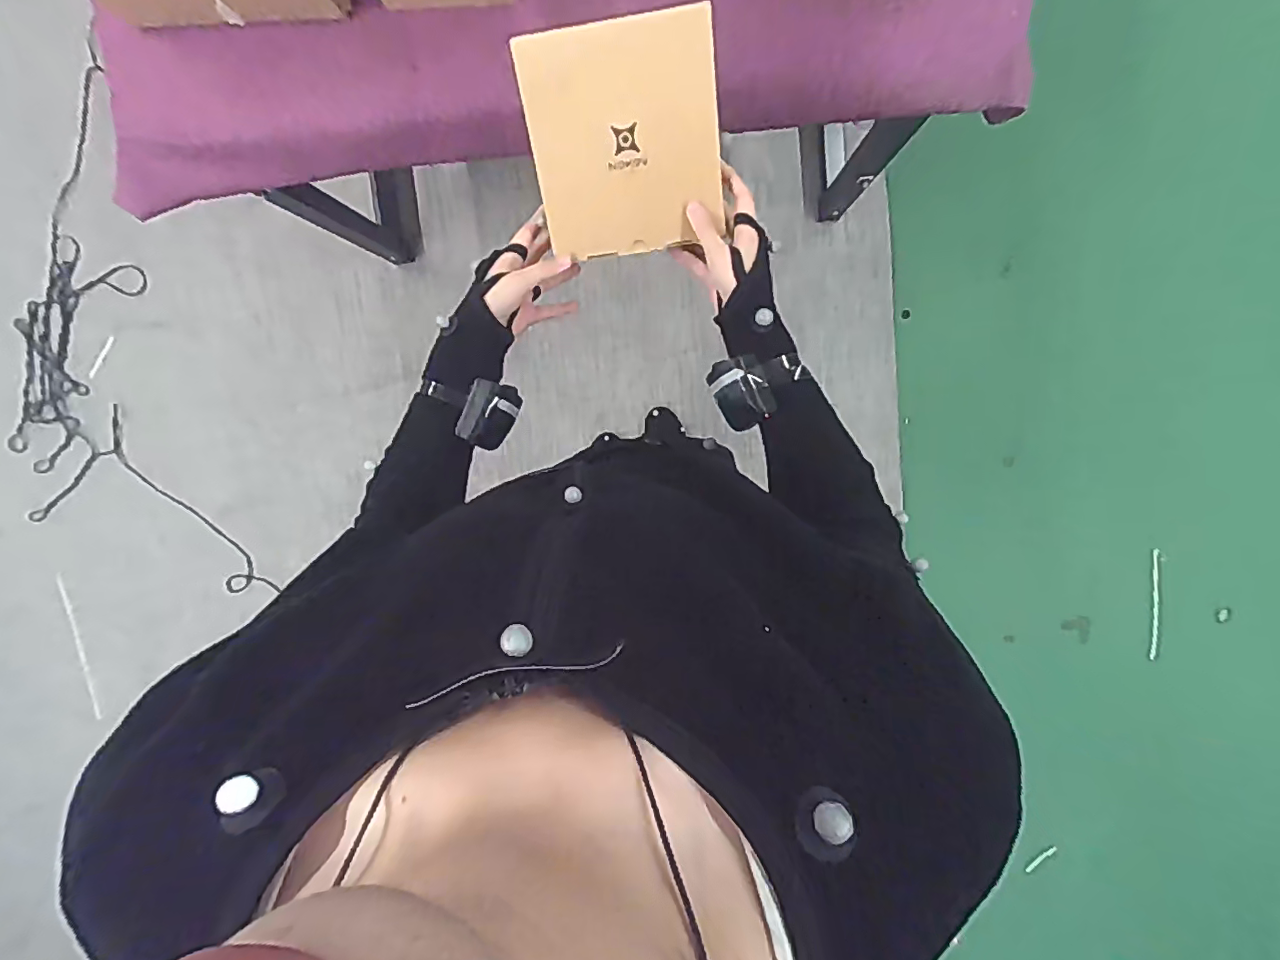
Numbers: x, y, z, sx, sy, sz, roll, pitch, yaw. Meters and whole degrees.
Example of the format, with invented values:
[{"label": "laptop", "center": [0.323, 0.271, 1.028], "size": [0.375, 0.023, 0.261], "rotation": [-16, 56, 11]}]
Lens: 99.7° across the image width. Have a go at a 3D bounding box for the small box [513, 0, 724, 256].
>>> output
[{"label": "small box", "center": [-0.016, -0.335, 0.540], "size": [0.168, 0.176, 0.179], "rotation": [-8, 119, 2]}]
